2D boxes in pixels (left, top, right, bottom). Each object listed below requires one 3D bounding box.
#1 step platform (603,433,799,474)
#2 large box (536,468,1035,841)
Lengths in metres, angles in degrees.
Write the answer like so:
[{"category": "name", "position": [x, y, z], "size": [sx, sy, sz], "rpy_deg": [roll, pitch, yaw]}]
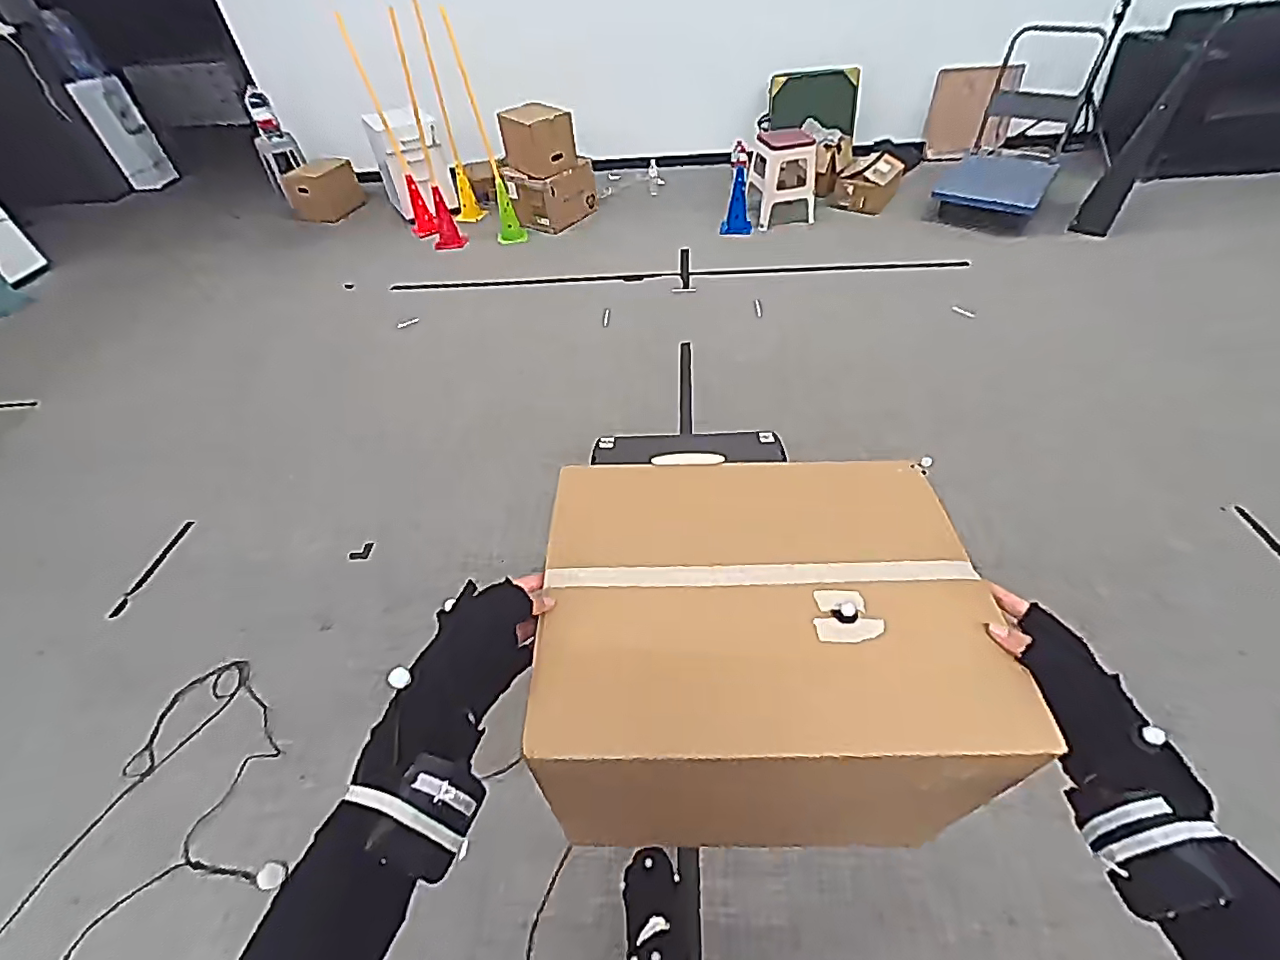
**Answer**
[{"category": "step platform", "position": [0.208, 0.000, 1.909], "size": [0.684, 0.204, 0.286], "rpy_deg": [-2, 46, 2]}, {"category": "large box", "position": [0.113, 0.202, 0.631], "size": [0.408, 0.320, 0.320], "rpy_deg": [-1, 46, 1]}]
